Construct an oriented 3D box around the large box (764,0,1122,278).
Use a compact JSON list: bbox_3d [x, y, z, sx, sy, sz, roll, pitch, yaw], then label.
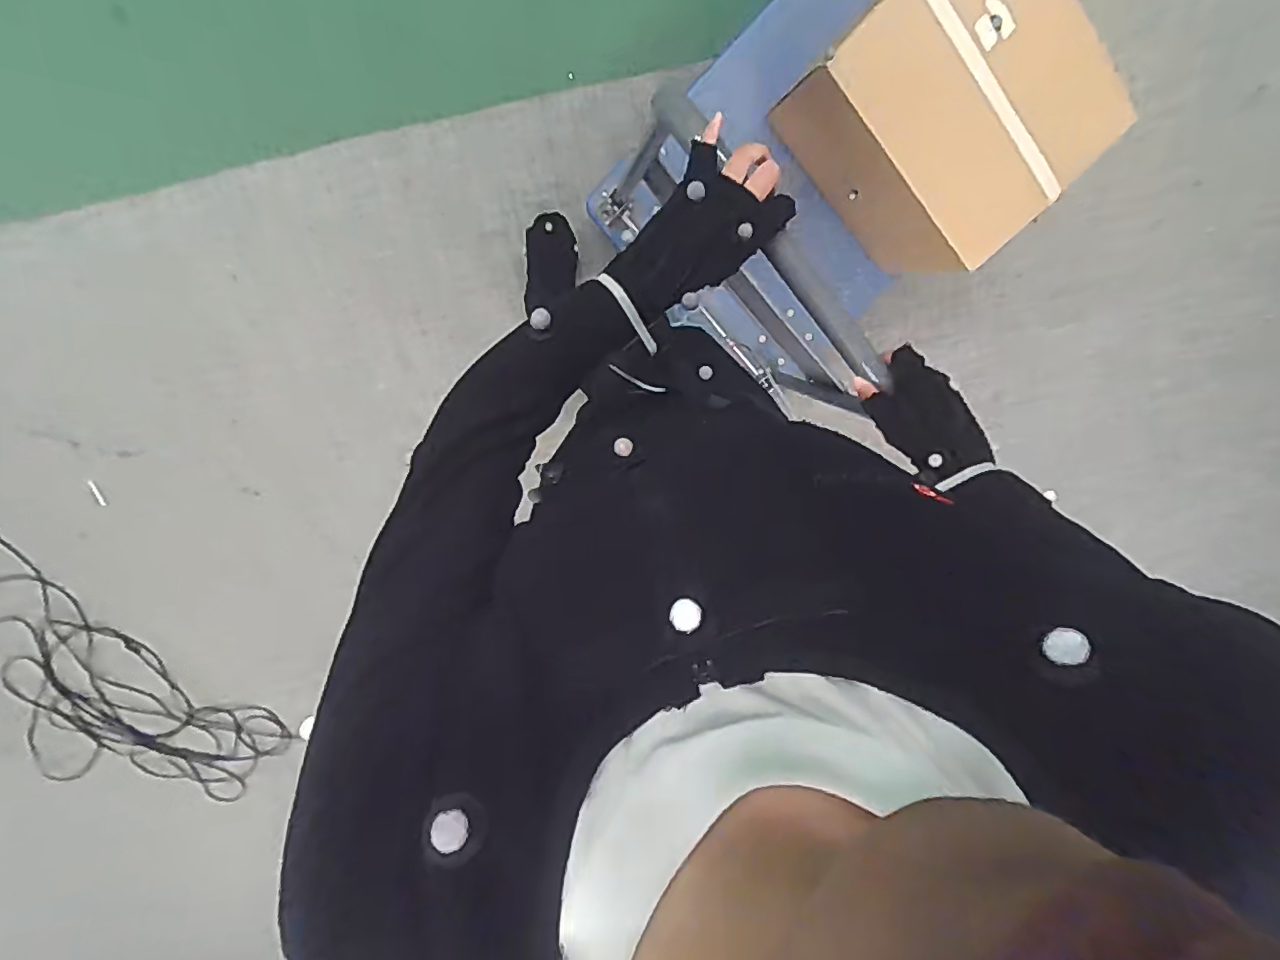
[{"bbox_3d":[0.492,-0.614,0.950,0.320,0.320,0.408,-44,106,11],"label":"large box"}]
